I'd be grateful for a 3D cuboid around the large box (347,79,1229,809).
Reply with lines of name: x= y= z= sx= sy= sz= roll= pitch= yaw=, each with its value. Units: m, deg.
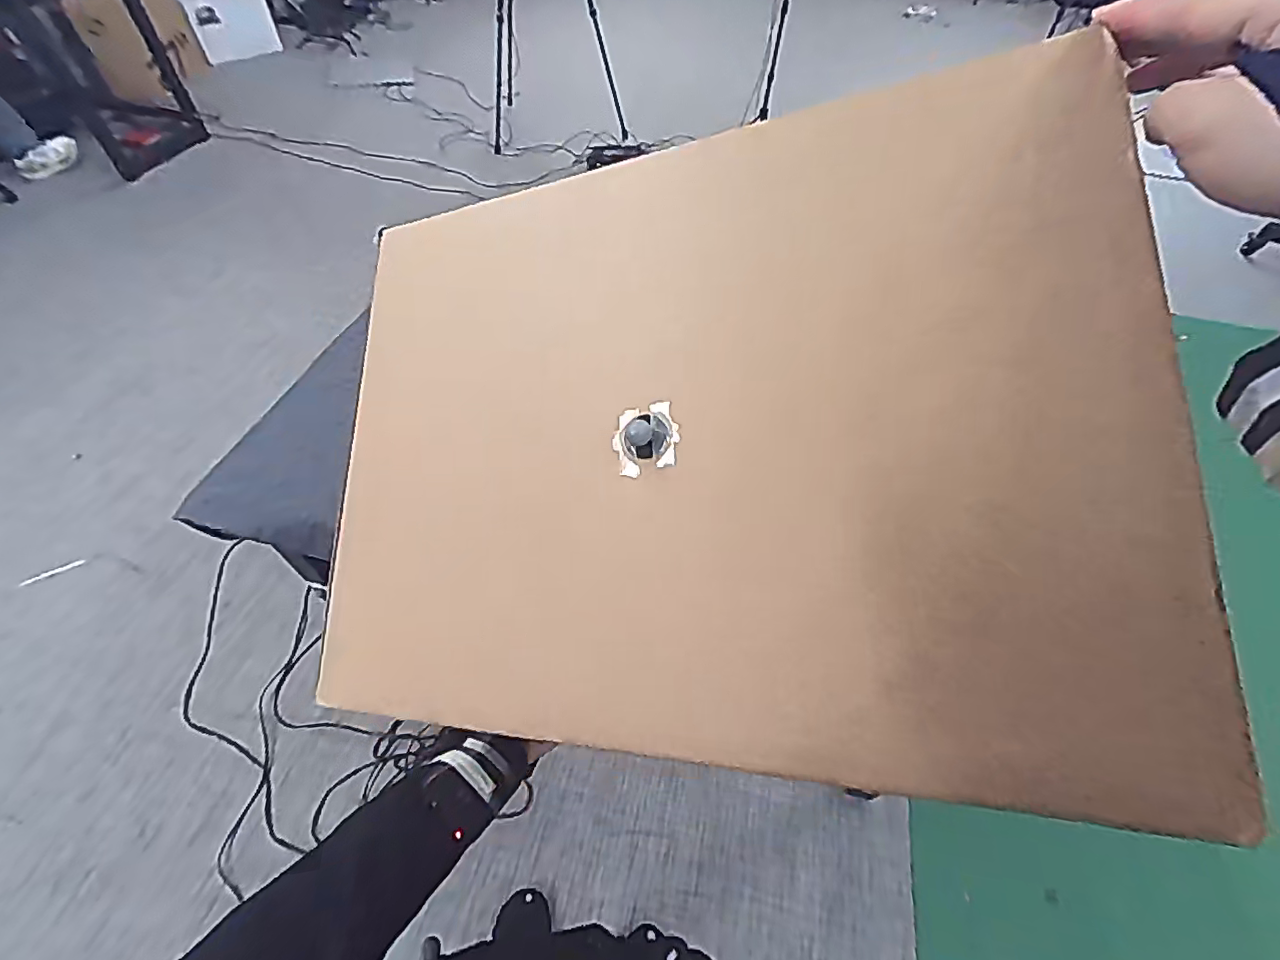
large box: x=0.065 y=0.009 z=0.410 sx=0.408 sy=0.320 sz=0.320 roll=-4 pitch=76 yaw=20
